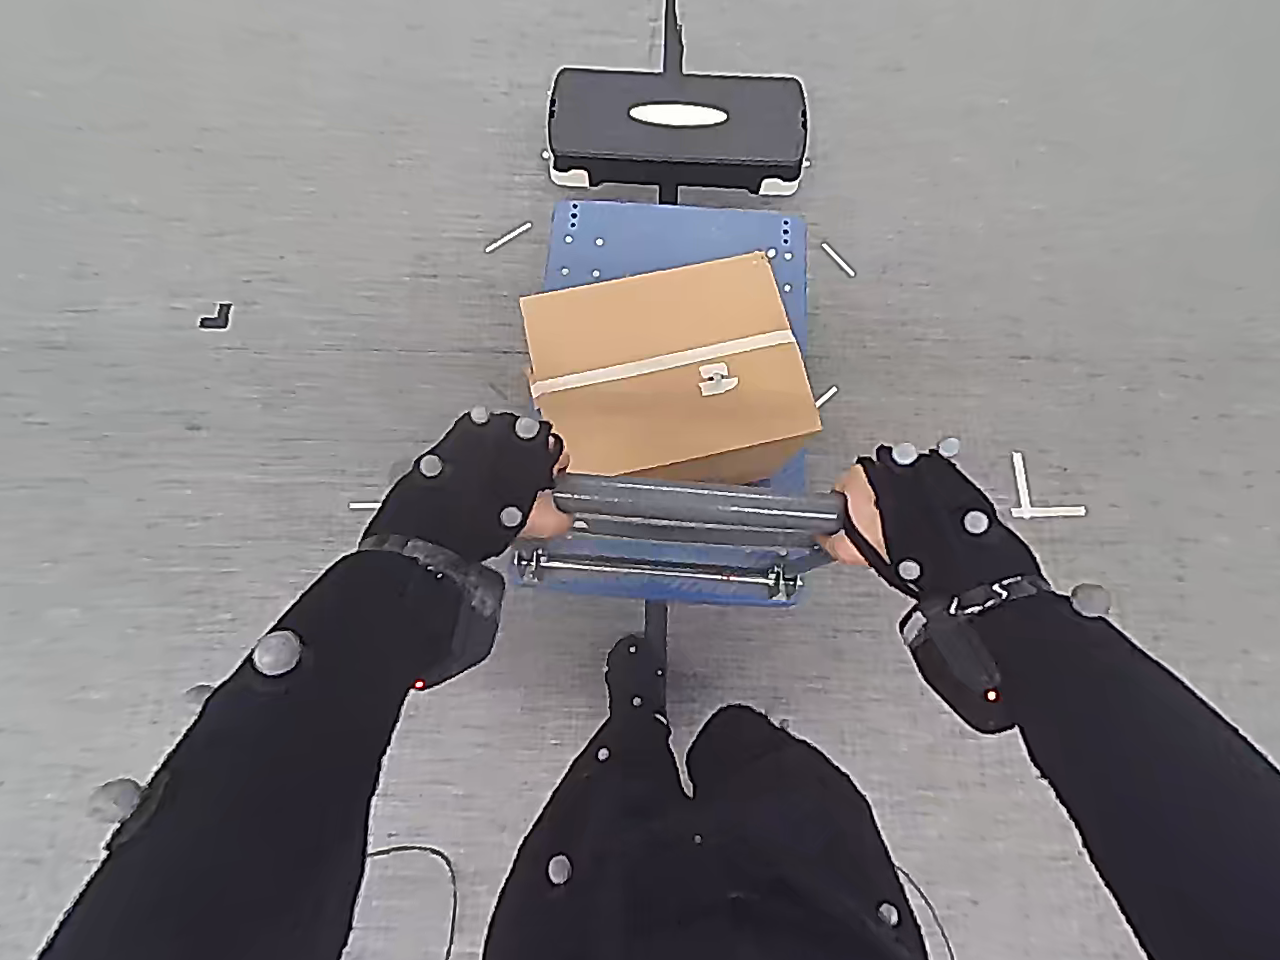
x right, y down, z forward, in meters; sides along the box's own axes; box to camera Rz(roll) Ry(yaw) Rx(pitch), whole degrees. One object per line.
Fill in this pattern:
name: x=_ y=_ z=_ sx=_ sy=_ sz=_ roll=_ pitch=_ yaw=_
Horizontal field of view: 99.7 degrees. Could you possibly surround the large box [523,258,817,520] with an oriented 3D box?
large box: x=0.036 y=-0.140 z=0.976 sx=0.408 sy=0.320 sz=0.320 roll=-12 pitch=78 yaw=-5
